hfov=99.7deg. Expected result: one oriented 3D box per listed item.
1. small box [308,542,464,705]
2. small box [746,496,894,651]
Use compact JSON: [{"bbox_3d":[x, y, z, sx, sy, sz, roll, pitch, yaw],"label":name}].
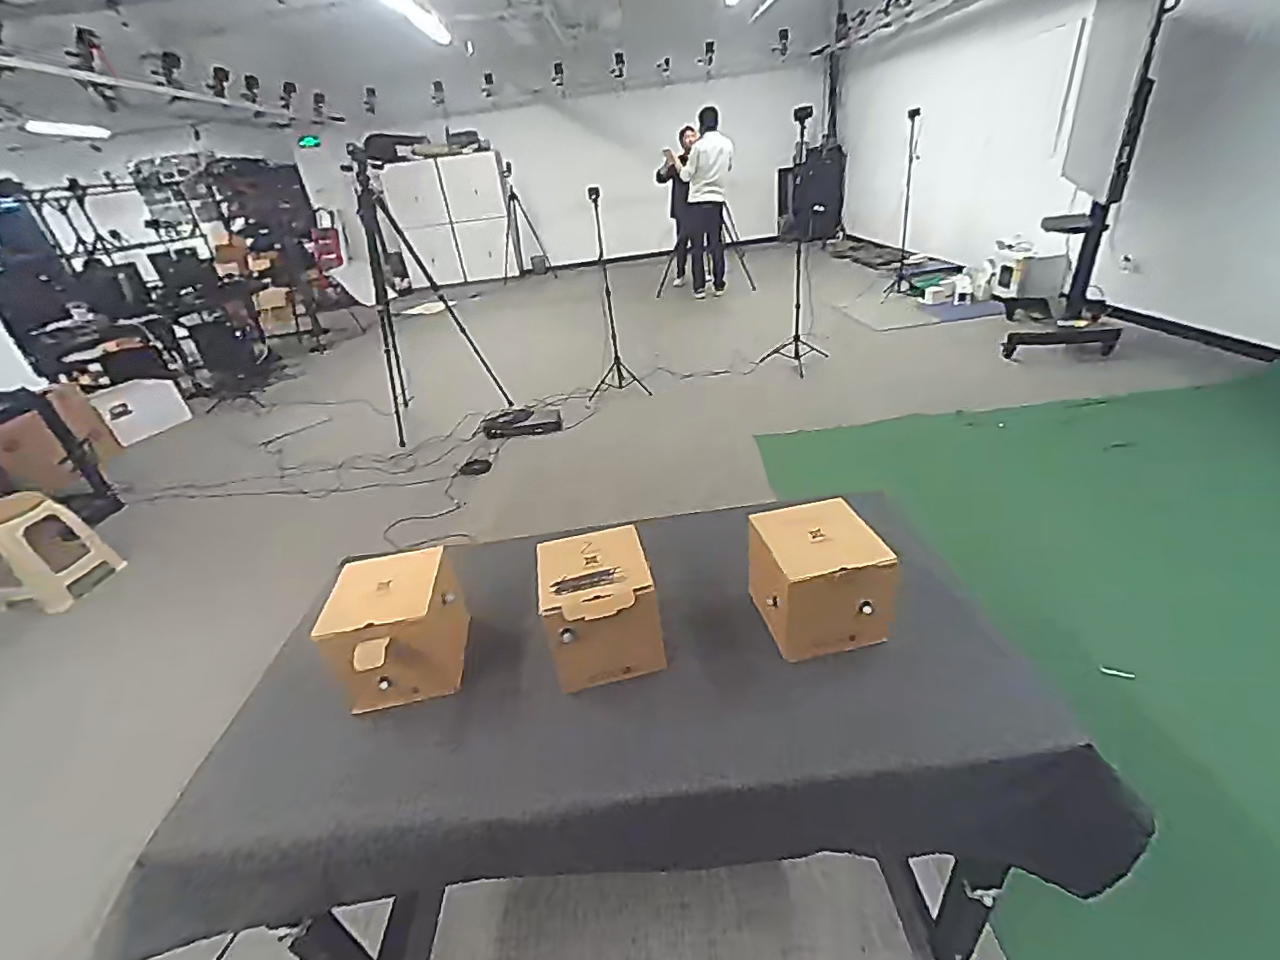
[{"bbox_3d":[-0.393,0.228,0.876,0.168,0.176,0.179,-10,30,-6],"label":"small box"},{"bbox_3d":[0.276,0.151,0.863,0.168,0.176,0.179,-9,29,-6],"label":"small box"}]
